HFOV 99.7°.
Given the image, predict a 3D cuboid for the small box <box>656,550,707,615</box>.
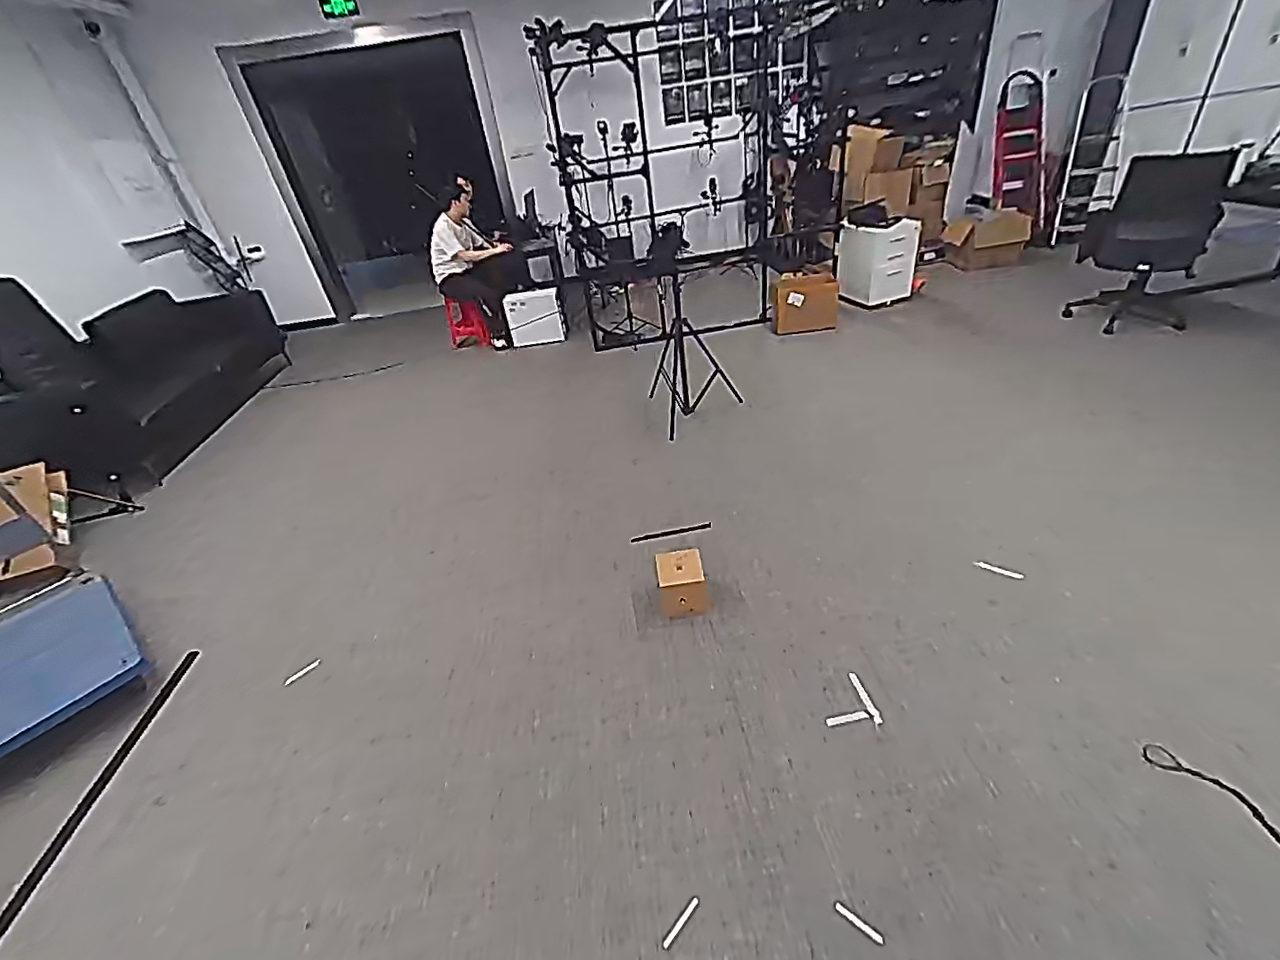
[{"bbox_3d":[0.154,0.390,2.028,0.168,0.176,0.179,-8,33,1],"label":"small box"}]
